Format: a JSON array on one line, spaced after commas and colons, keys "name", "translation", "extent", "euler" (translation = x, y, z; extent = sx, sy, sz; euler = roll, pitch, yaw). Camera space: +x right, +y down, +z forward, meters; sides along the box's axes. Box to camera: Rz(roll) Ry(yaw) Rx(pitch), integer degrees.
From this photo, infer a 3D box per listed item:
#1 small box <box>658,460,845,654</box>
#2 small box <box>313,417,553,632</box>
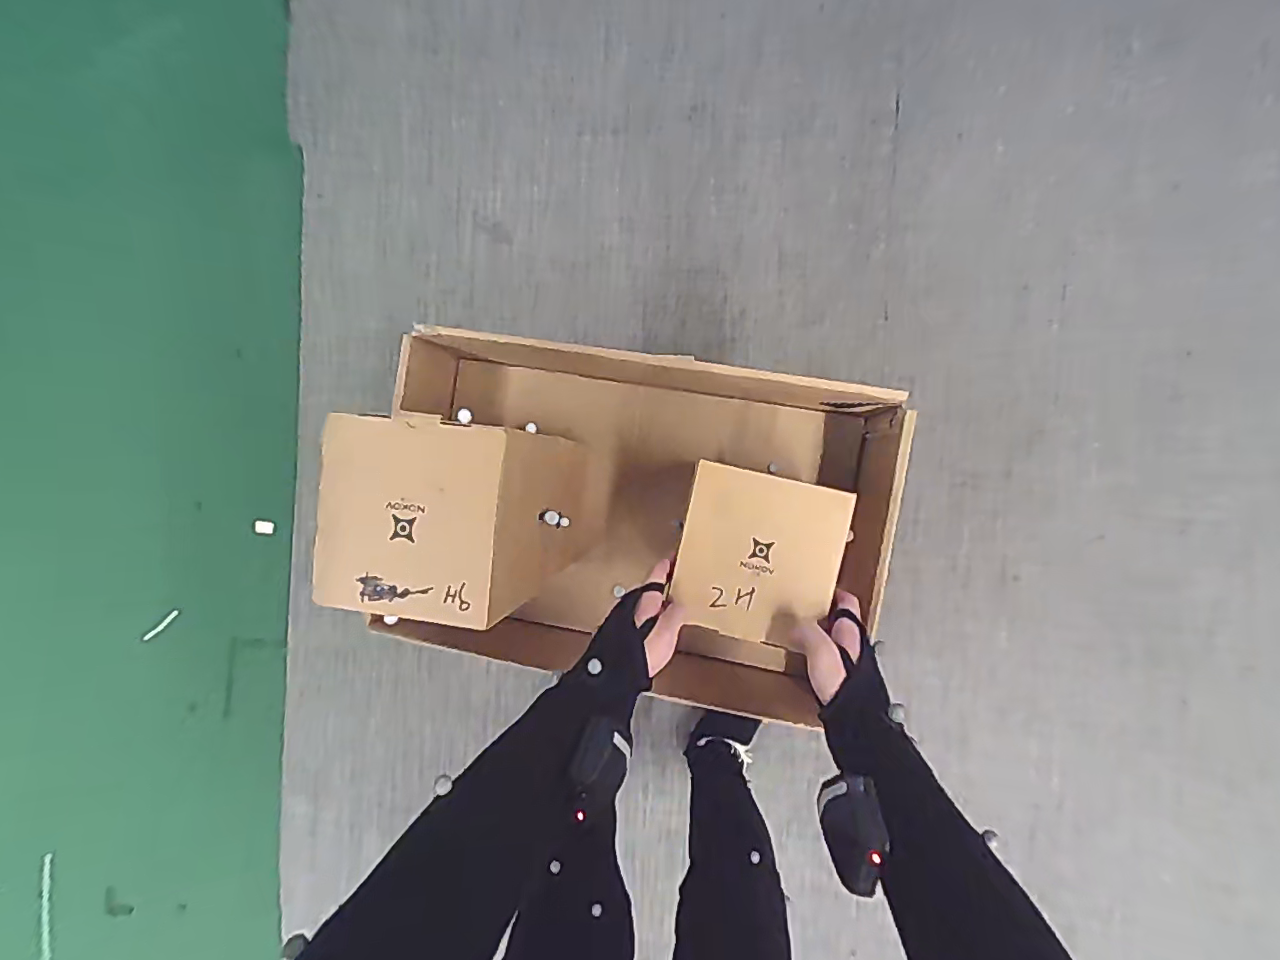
[{"name": "small box", "translation": [0.123, 0.077, 0.645], "extent": [0.168, 0.176, 0.179], "euler": [13, 94, 6]}, {"name": "small box", "translation": [-0.196, 0.037, 0.556], "extent": [0.168, 0.176, 0.179], "euler": [6, 92, 10]}]
